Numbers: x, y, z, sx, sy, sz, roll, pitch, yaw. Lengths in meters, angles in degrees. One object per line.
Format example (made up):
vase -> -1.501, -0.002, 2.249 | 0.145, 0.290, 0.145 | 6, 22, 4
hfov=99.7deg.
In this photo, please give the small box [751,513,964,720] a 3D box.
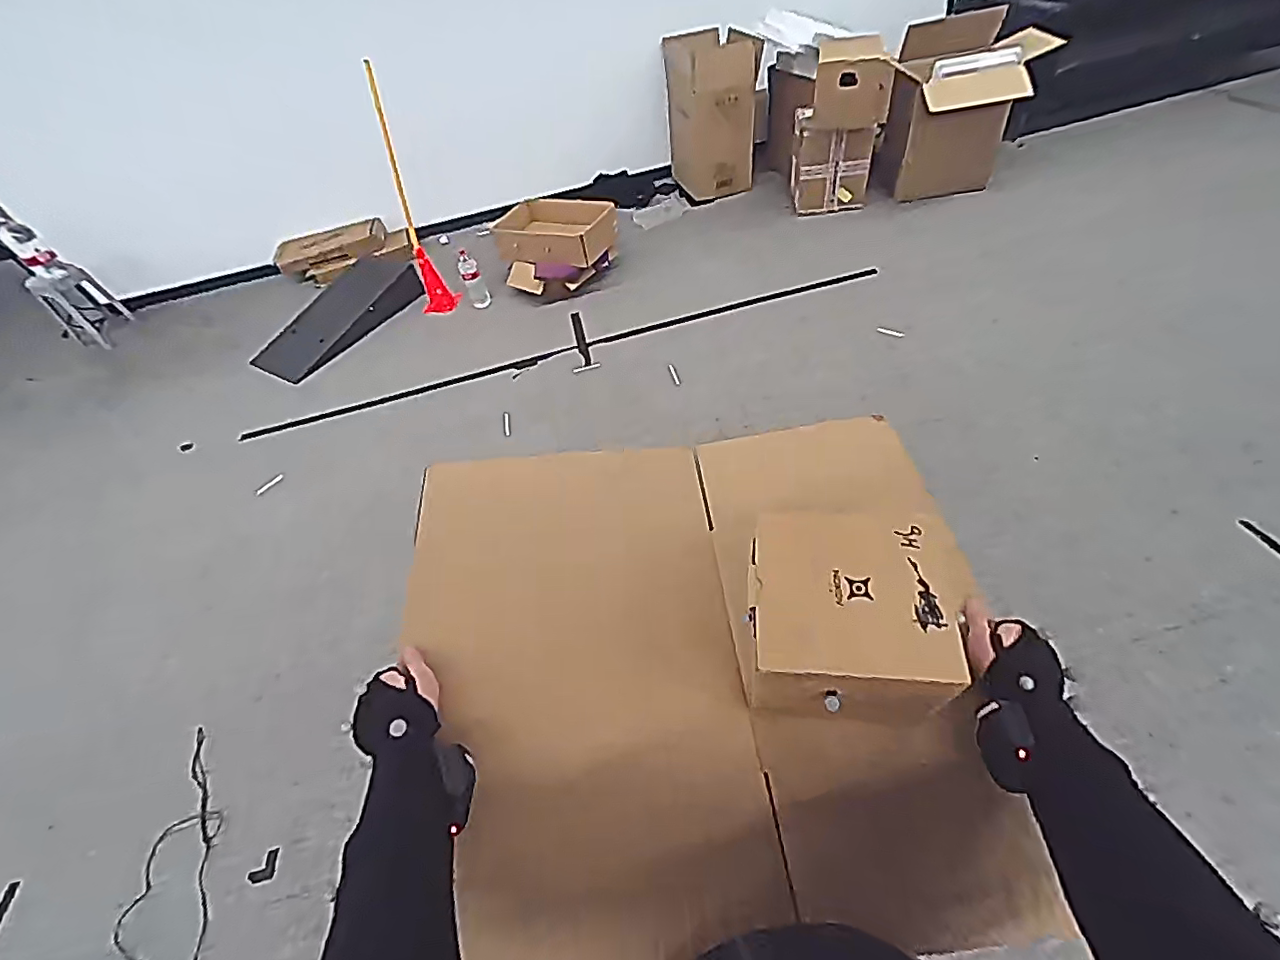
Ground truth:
small box -> 0.211, 0.148, 0.577 | 0.179, 0.176, 0.168 | -1, 55, 12
